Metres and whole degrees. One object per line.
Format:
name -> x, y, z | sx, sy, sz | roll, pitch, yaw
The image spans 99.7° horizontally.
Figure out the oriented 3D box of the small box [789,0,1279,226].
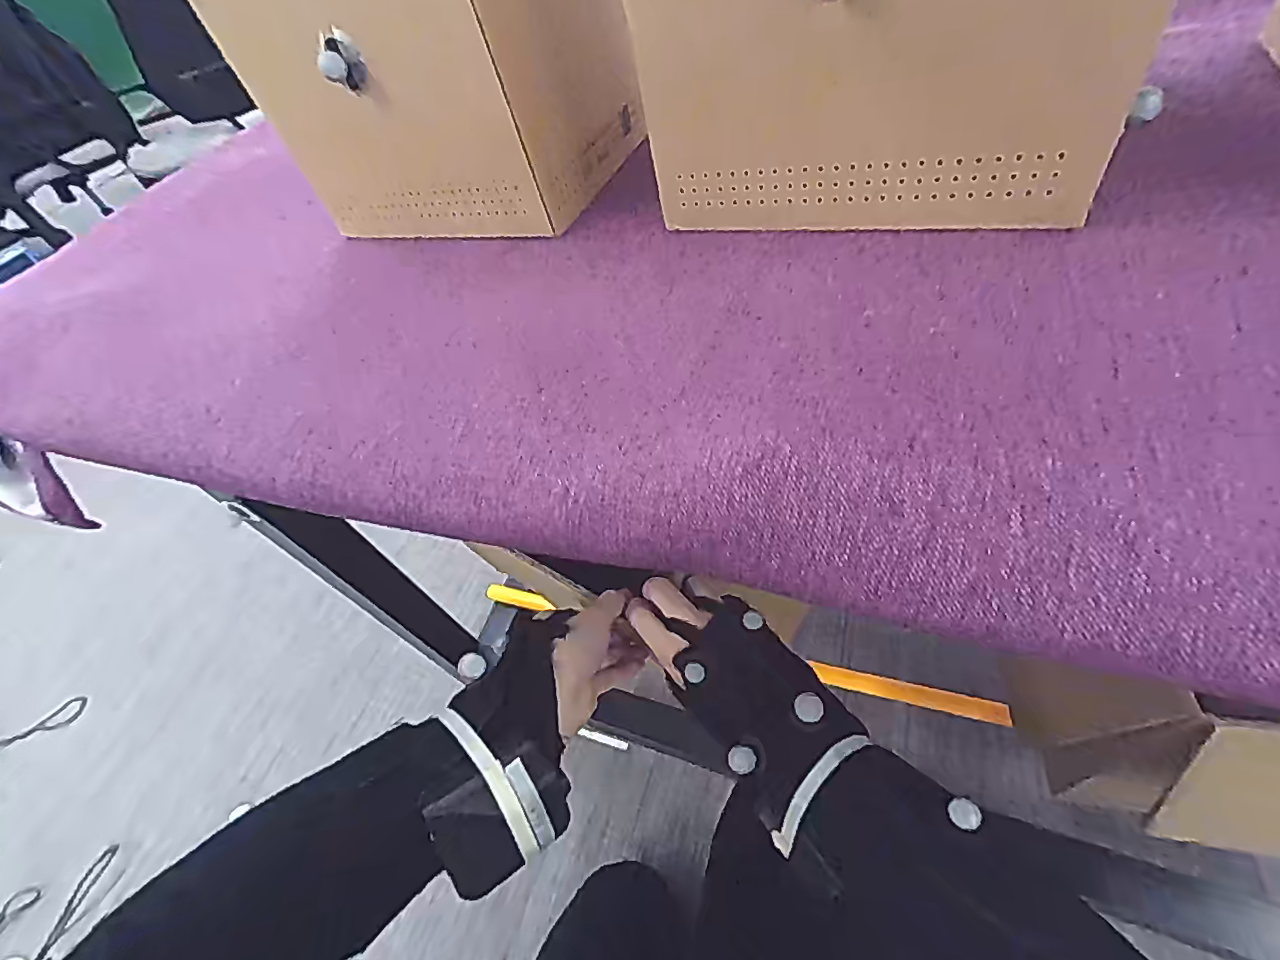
small box -> 0.152, -0.228, 0.194 | 0.179, 0.176, 0.168 | -9, 88, 14
